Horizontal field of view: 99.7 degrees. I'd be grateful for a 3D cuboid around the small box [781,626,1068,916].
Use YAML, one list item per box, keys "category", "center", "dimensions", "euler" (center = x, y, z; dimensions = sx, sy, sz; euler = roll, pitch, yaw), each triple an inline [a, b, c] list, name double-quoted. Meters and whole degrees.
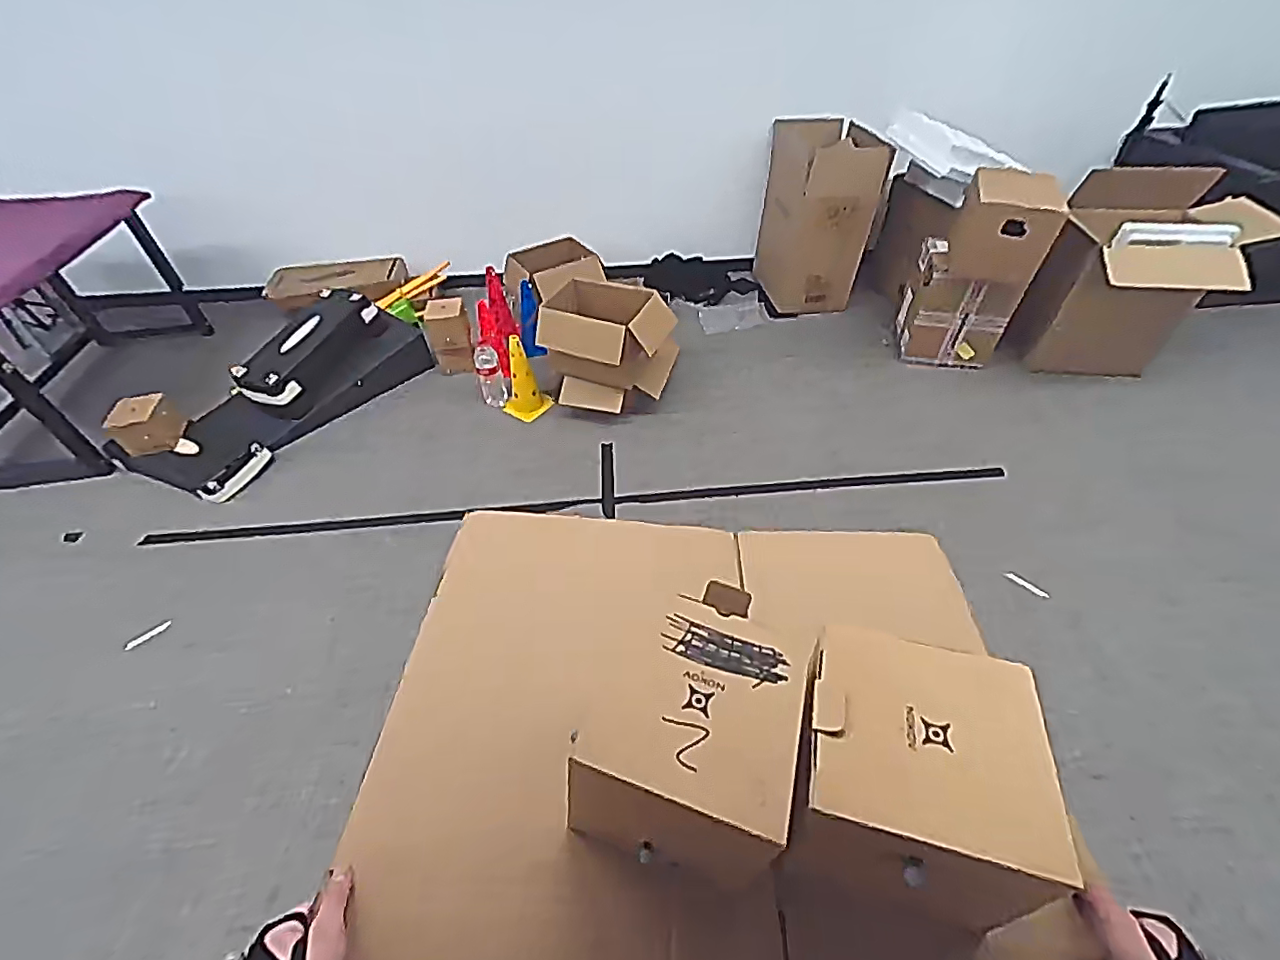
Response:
- category: "small box"
  center: [0.236, 0.266, 0.495]
  dimensions: [0.179, 0.176, 0.168]
  euler: [9, 44, 15]
